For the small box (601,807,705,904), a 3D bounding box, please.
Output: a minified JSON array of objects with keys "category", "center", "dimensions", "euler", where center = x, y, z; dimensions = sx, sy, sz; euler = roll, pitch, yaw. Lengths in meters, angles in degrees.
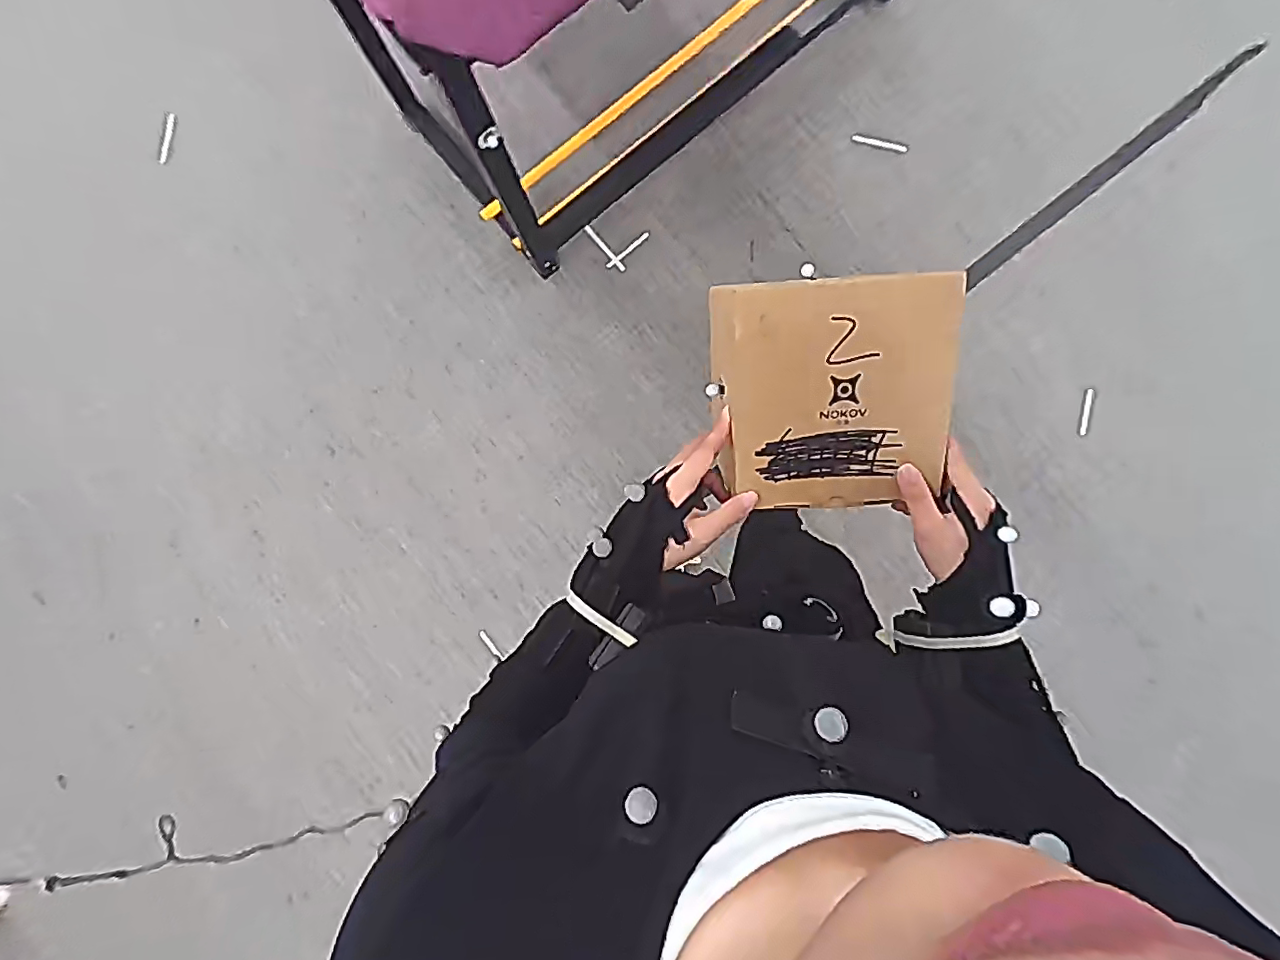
[{"category":"small box","center":[0.032,0.934,1.281],"dimensions":[0.168,0.176,0.179],"euler":[44,90,1]}]
